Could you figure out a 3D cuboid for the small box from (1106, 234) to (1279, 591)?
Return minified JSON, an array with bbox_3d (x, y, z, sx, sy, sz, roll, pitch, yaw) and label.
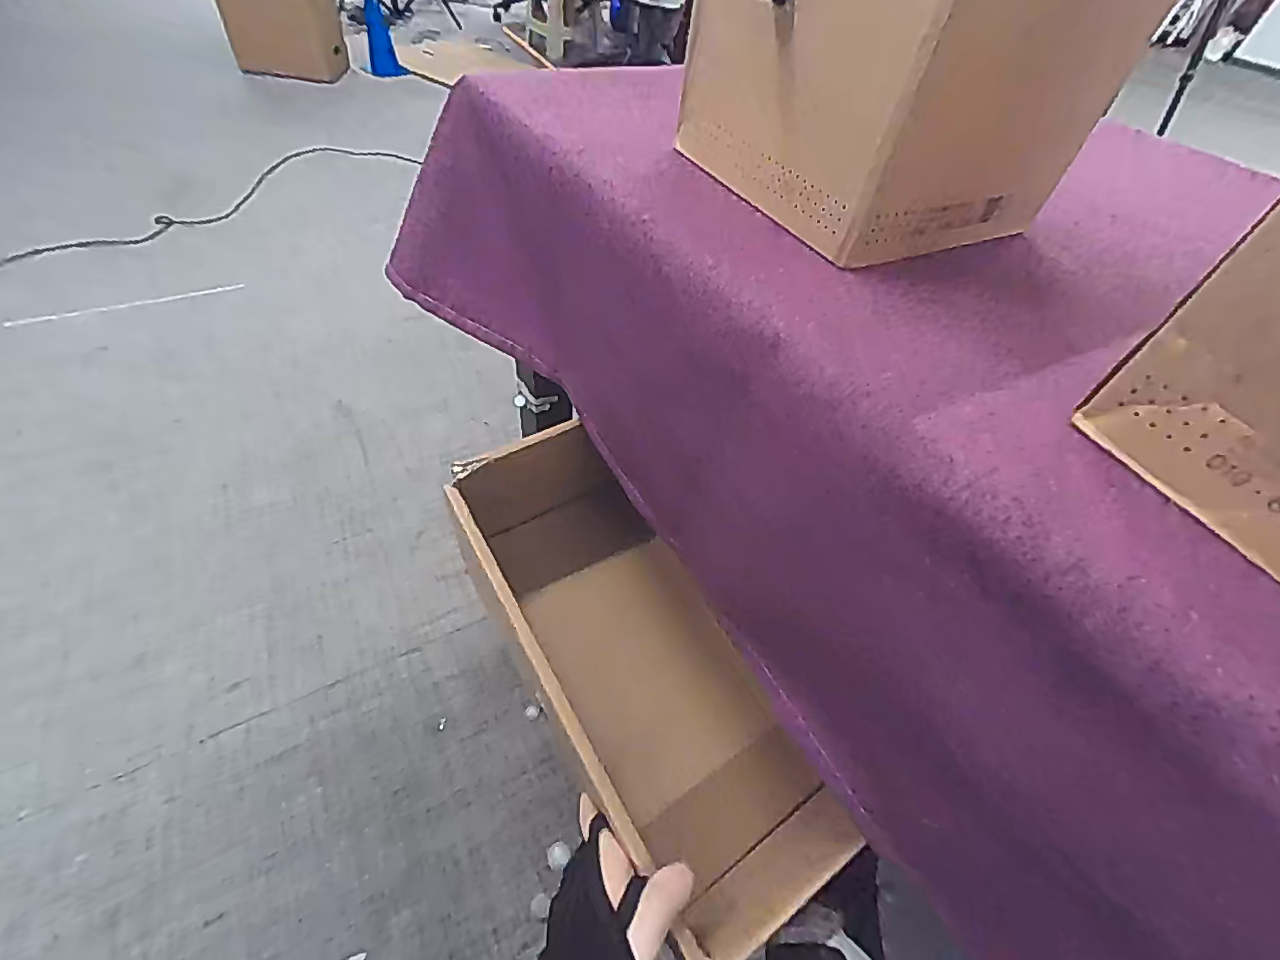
[{"bbox_3d":[0.293,-0.036,0.143,0.179,0.176,0.168,-16,53,-19],"label":"small box"}]
